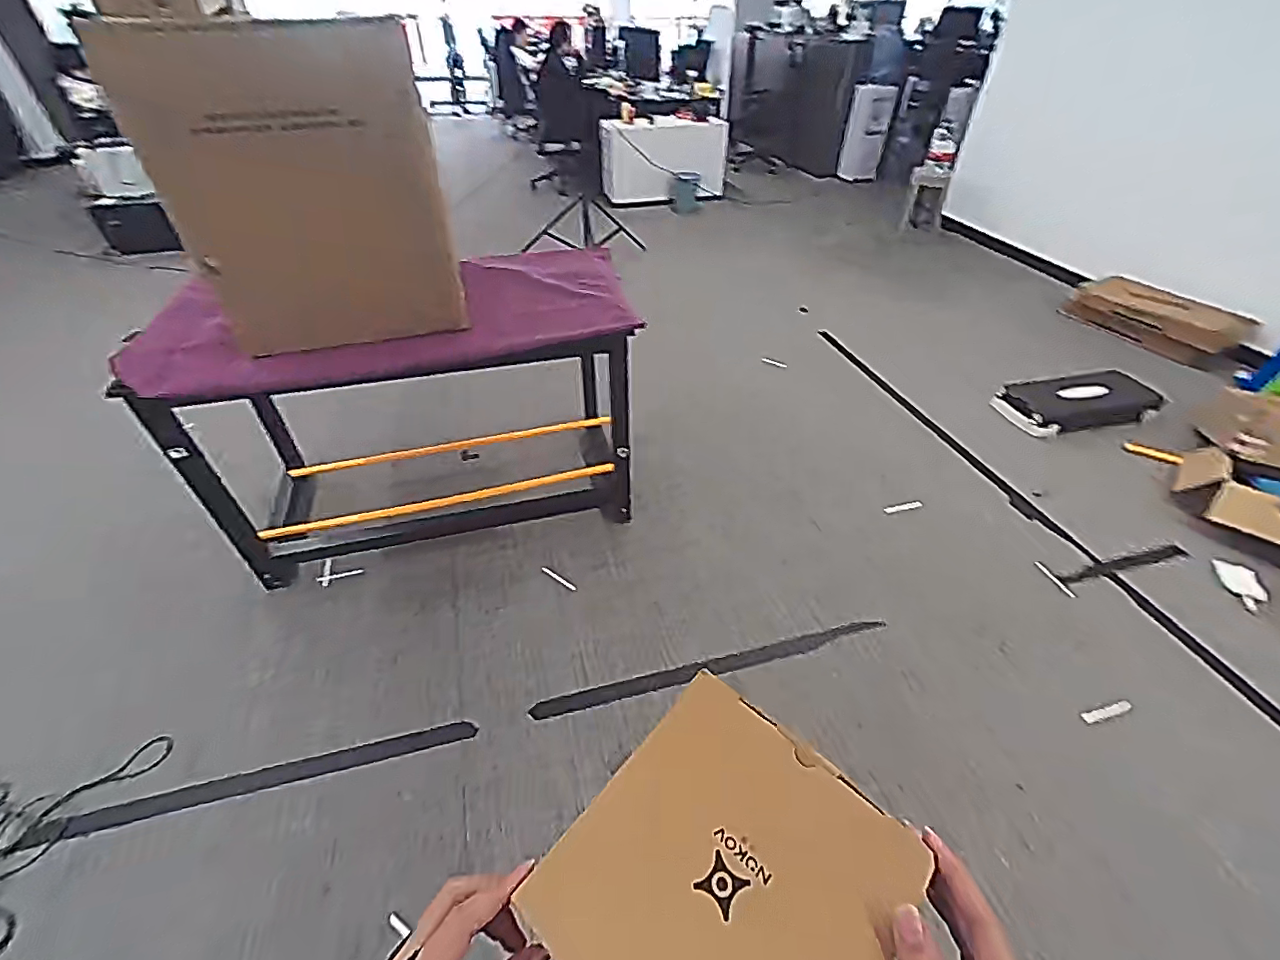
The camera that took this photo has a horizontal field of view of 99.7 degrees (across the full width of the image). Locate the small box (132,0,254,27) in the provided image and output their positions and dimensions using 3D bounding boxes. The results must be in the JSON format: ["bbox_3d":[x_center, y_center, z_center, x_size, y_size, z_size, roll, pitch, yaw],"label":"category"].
[{"bbox_3d":[-0.901,-1.008,1.063,0.179,0.176,0.168,-12,43,-14],"label":"small box"}]
